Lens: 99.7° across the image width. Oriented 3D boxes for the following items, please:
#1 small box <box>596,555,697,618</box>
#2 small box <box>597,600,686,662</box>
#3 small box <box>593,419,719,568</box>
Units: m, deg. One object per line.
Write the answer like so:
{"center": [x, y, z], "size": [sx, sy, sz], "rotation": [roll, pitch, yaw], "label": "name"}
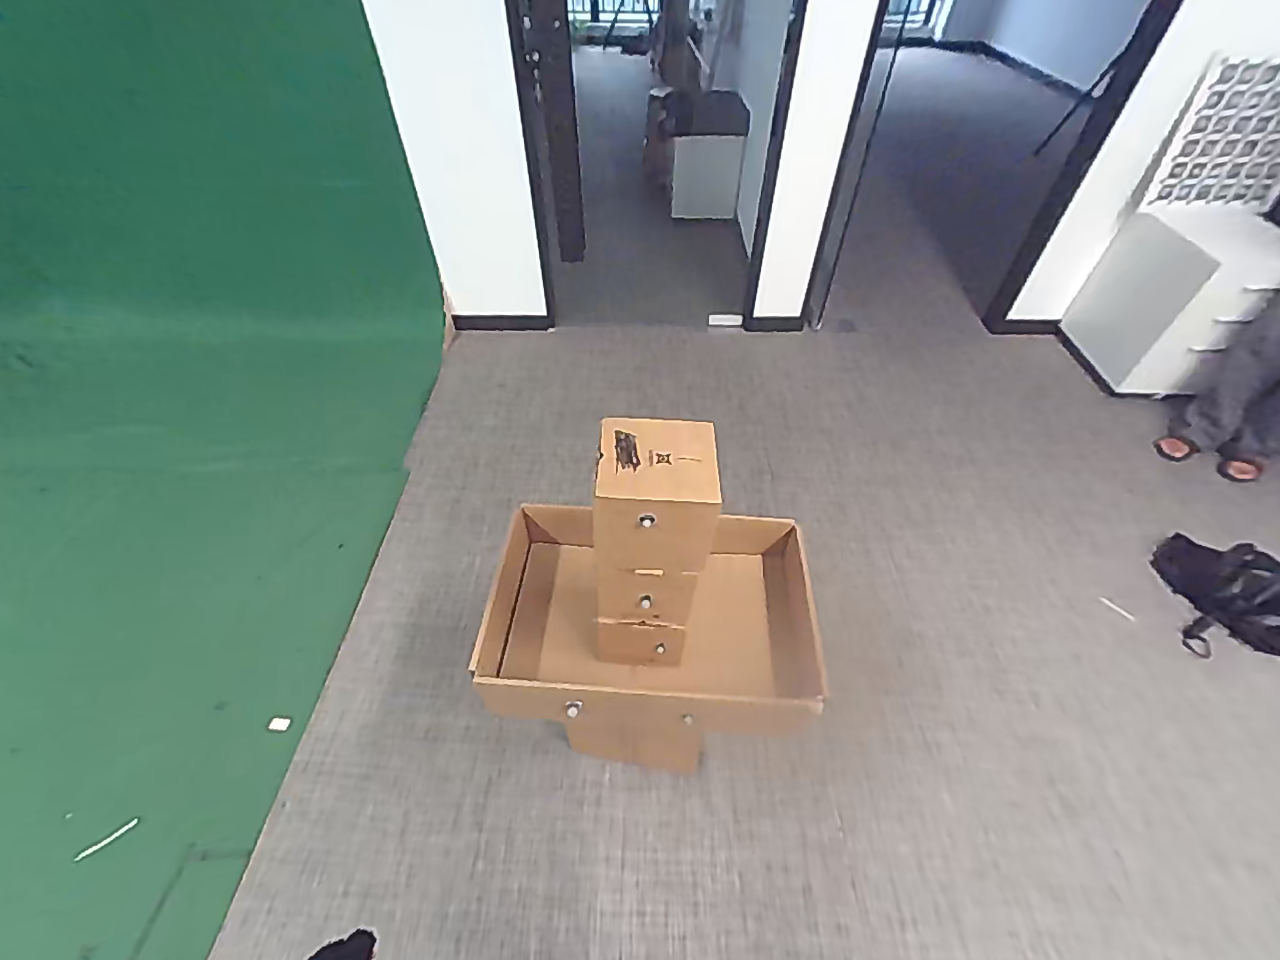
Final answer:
{"center": [0.014, 0.133, 0.972], "size": [0.168, 0.176, 0.179], "rotation": [4, 48, 0], "label": "small box"}
{"center": [0.005, 0.249, 1.087], "size": [0.168, 0.176, 0.179], "rotation": [4, 46, 0], "label": "small box"}
{"center": [0.021, 0.024, 0.848], "size": [0.179, 0.176, 0.168], "rotation": [3, 48, -1], "label": "small box"}
